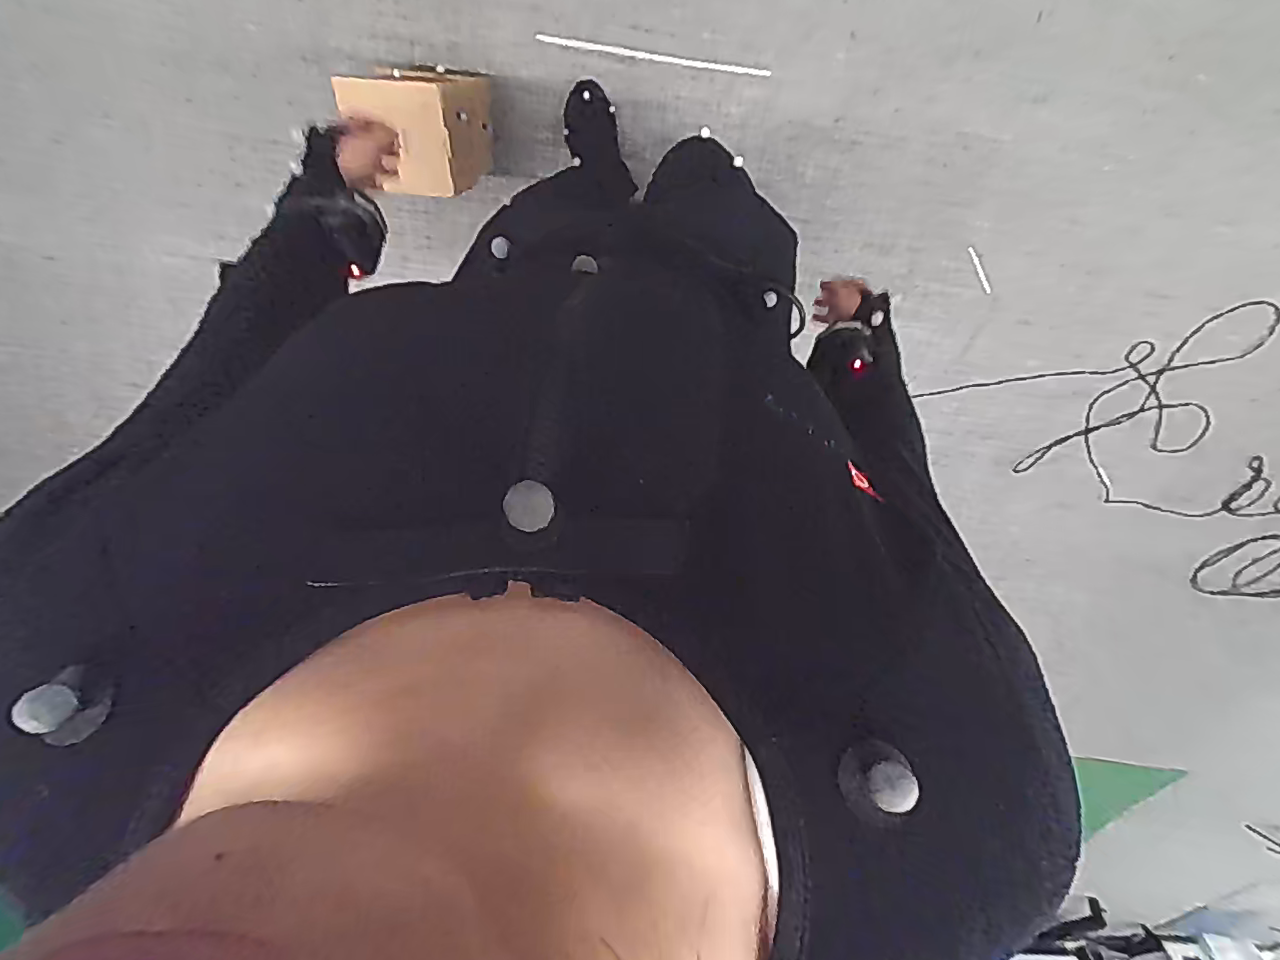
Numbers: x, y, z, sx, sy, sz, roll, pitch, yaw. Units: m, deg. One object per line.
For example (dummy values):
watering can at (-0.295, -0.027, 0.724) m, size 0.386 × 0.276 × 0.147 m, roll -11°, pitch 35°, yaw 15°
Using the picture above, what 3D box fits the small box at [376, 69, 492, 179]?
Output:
small box at (-0.407, -0.730, 1.105) m, size 0.179 × 0.176 × 0.168 m, roll 5°, pitch 126°, yaw -3°

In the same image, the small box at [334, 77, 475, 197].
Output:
small box at (-0.410, -0.624, 0.981) m, size 0.179 × 0.176 × 0.168 m, roll 3°, pitch 125°, yaw 0°
